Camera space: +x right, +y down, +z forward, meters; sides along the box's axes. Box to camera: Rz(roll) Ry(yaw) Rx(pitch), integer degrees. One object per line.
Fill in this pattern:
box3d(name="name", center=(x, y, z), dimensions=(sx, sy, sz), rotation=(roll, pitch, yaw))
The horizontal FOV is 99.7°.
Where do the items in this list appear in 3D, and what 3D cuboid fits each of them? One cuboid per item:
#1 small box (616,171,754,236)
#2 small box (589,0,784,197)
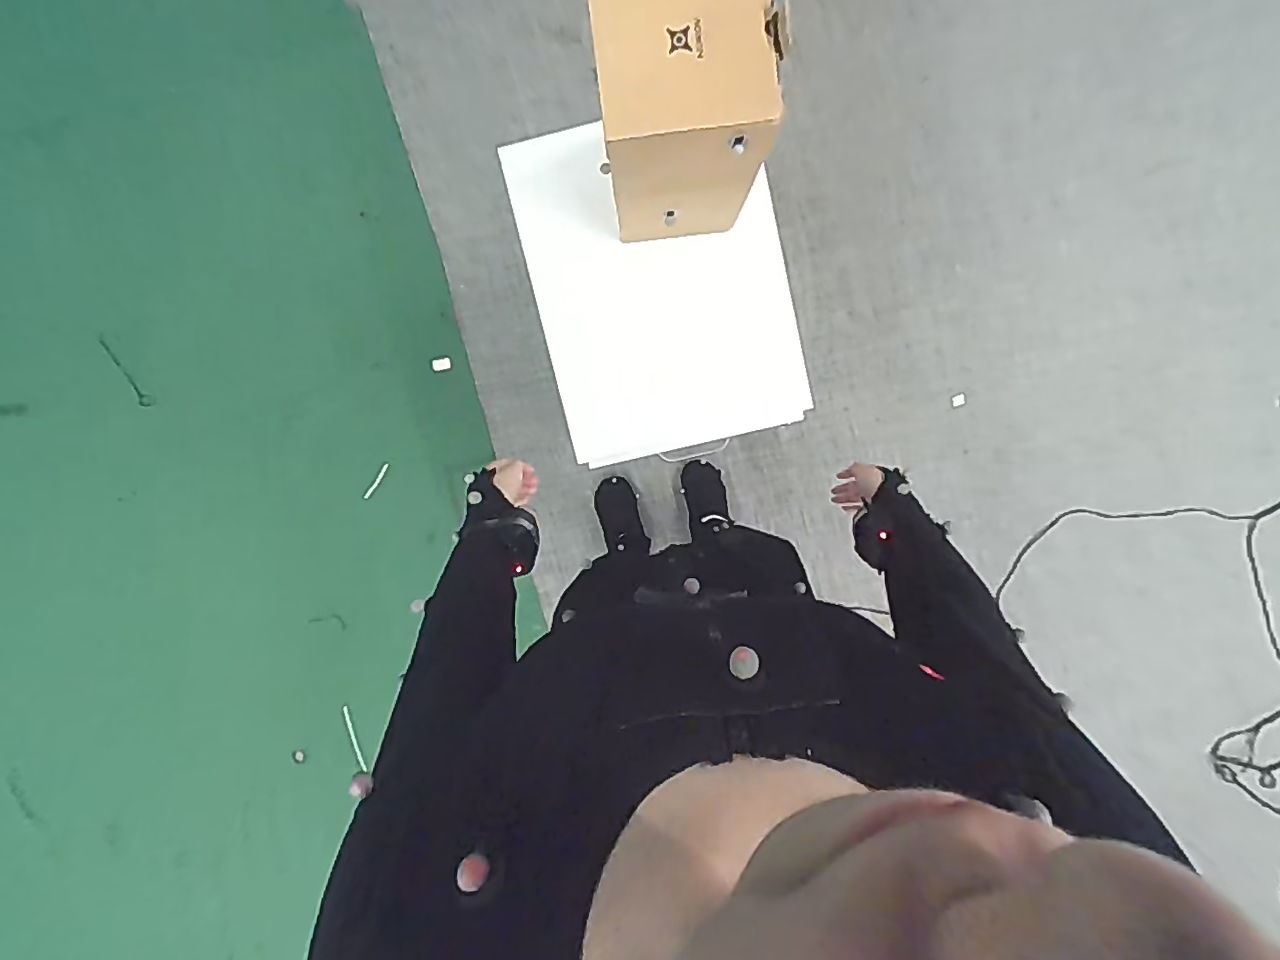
box3d(name="small box", center=(0.052, -0.455, 0.751), dimensions=(0.179, 0.176, 0.168), rotation=(-6, 98, 2))
box3d(name="small box", center=(0.045, -0.431, 0.590), dimensions=(0.179, 0.176, 0.168), rotation=(-7, 97, 1))
